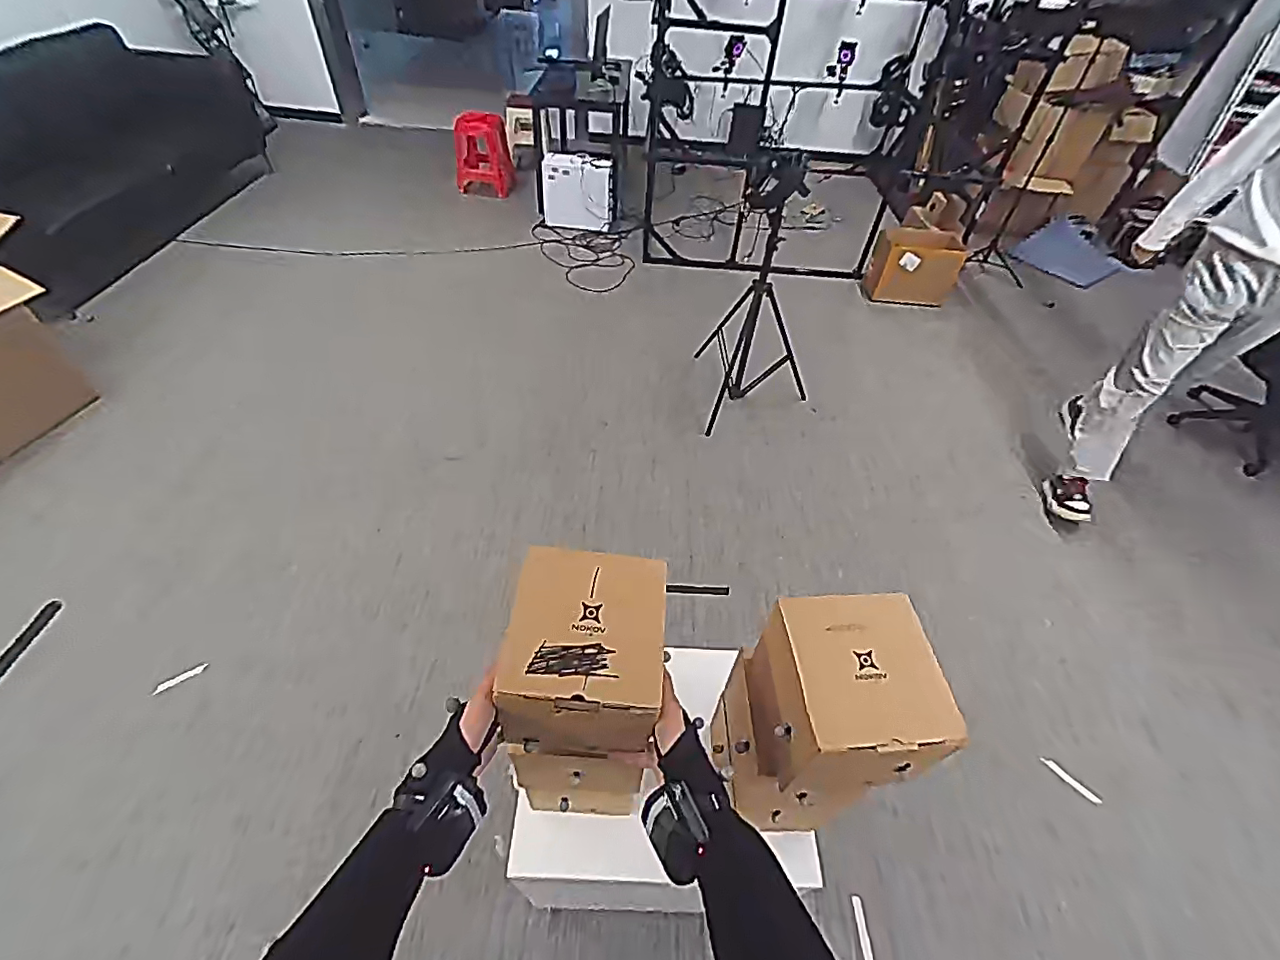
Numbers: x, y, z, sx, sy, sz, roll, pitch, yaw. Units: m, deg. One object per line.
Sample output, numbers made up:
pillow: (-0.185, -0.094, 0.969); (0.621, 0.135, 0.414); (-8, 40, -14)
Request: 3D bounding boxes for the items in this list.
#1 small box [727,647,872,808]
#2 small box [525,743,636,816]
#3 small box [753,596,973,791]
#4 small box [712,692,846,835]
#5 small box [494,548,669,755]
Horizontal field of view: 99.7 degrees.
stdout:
small box: (0.226, 0.362, 0.784); (0.168, 0.176, 0.179); (2, 47, -2)
small box: (-0.089, 0.448, 0.908); (0.168, 0.176, 0.179); (4, 47, -1)
small box: (0.248, 0.262, 0.655); (0.168, 0.176, 0.179); (-1, 47, -6)
small box: (0.218, 0.474, 0.905); (0.168, 0.176, 0.179); (1, 47, -2)
small box: (-0.061, 0.205, 0.632); (0.168, 0.176, 0.179); (7, 48, -2)
